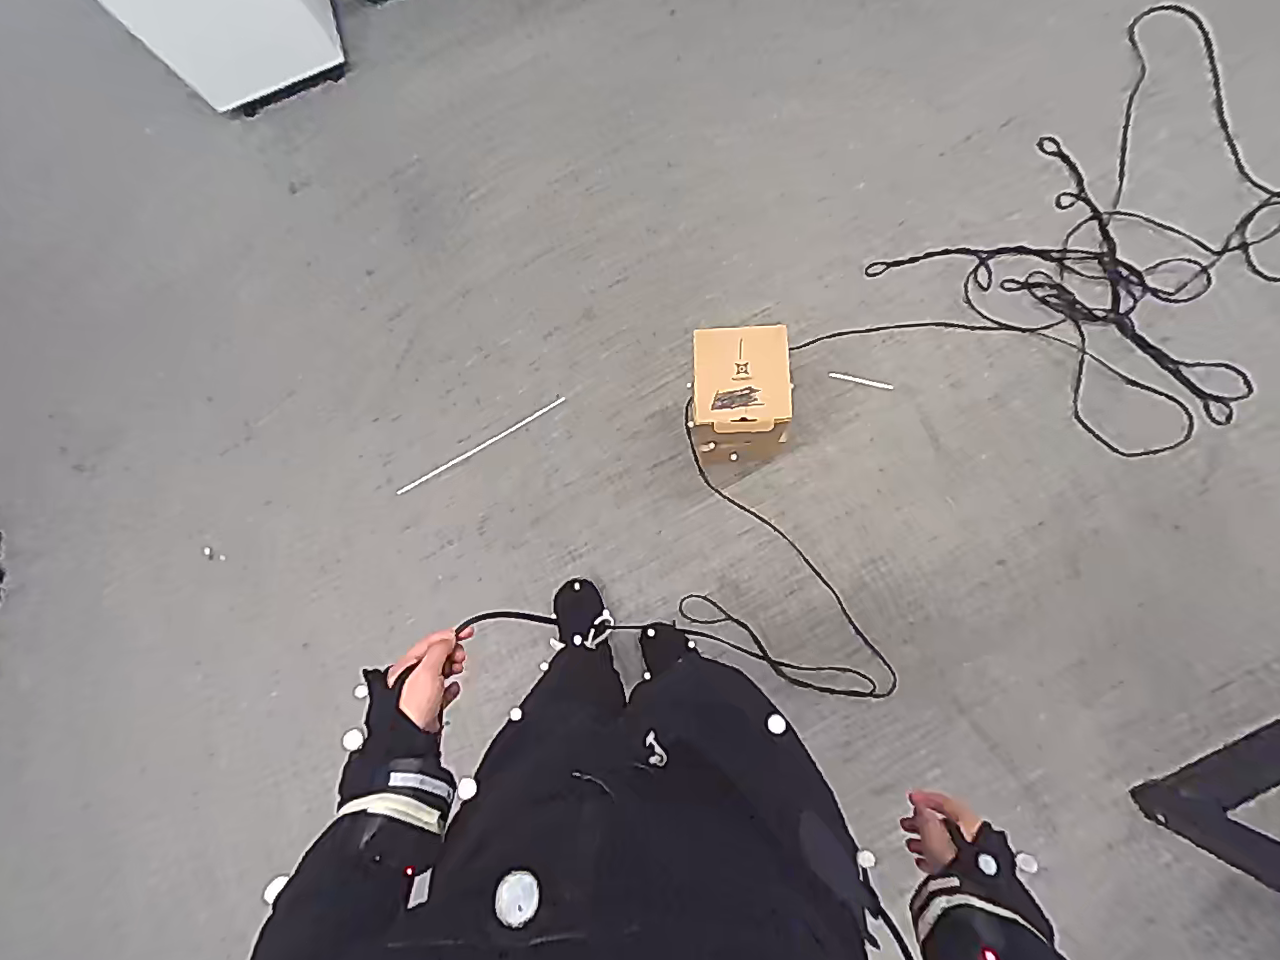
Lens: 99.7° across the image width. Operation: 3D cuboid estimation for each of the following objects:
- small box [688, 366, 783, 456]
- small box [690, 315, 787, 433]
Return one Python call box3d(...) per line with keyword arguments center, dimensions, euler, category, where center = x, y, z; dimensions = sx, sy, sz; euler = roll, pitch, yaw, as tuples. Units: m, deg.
box3d(center=(0.203, -0.154, 1.174), dimensions=(0.179, 0.176, 0.168), euler=(-7, 81, 6), category="small box")
box3d(center=(0.179, -0.189, 1.014), dimensions=(0.168, 0.176, 0.179), euler=(-1, 80, 6), category="small box")
